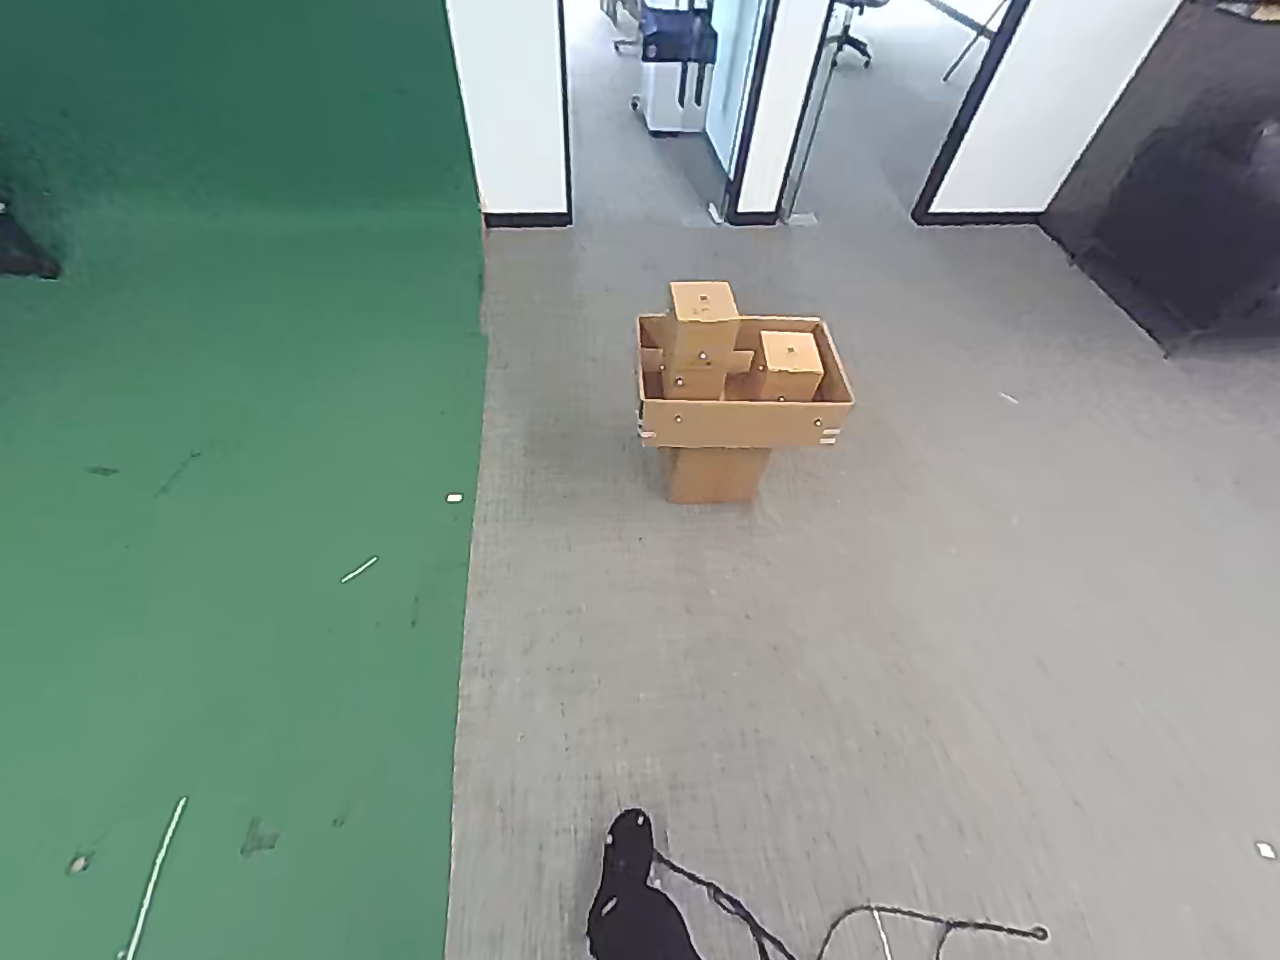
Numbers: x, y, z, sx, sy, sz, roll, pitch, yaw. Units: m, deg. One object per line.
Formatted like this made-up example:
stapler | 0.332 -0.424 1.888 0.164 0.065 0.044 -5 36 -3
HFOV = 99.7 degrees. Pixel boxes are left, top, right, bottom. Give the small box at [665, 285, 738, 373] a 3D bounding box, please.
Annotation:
small box | 0.164 -0.422 1.513 0.168 0.176 0.179 -2 53 -5

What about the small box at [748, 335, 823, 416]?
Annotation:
small box | 0.441 -0.322 1.670 0.168 0.176 0.179 2 53 -4
